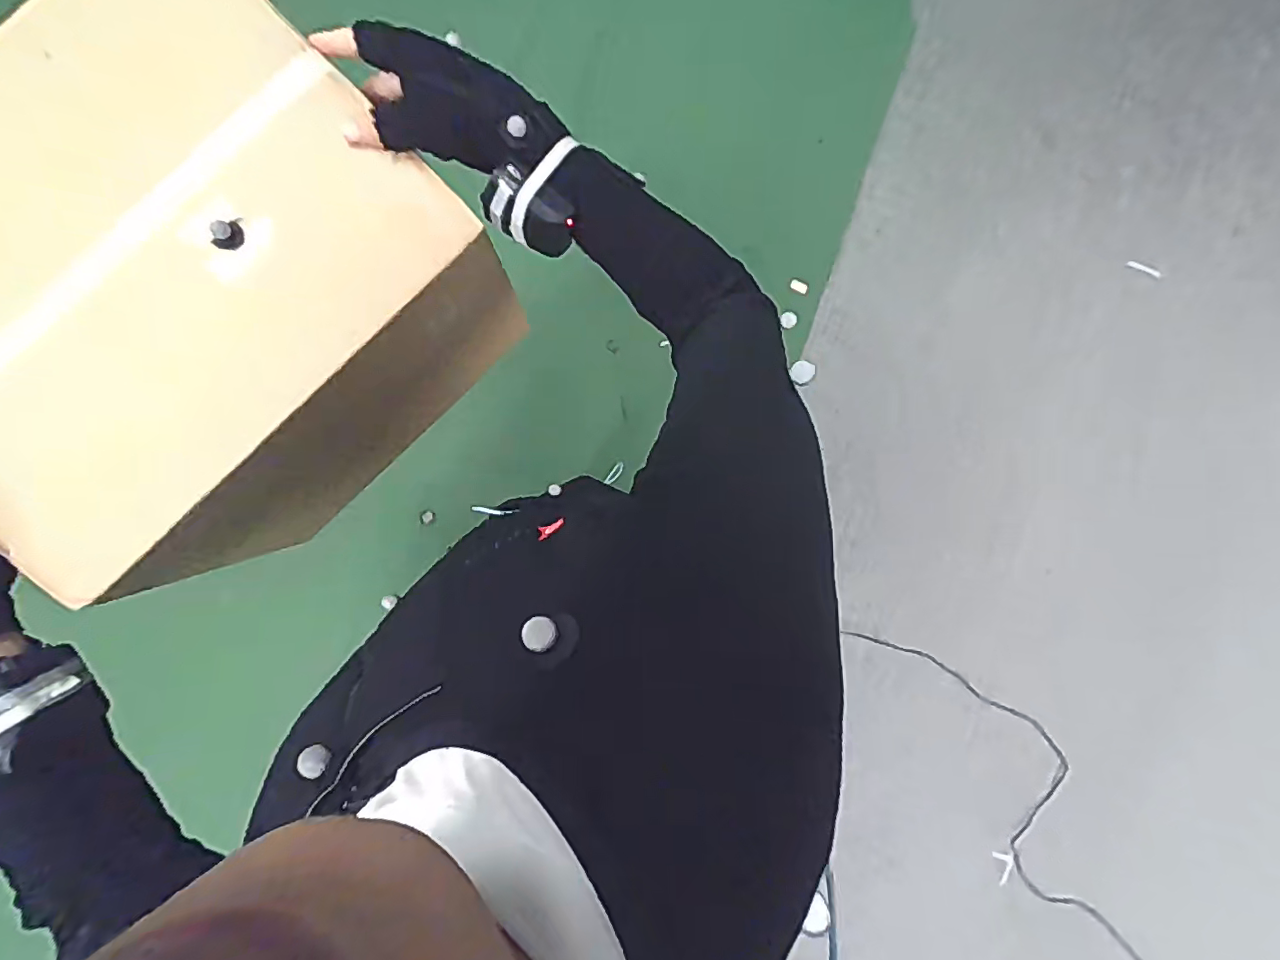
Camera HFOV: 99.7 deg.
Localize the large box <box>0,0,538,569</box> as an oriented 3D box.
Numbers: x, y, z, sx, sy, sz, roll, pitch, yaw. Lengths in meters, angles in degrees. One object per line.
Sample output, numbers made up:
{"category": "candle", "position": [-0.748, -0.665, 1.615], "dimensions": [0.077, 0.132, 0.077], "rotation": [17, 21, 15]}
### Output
{"category": "large box", "position": [-0.364, -0.181, 0.544], "dimensions": [0.408, 0.320, 0.320], "rotation": [-44, 95, -2]}
